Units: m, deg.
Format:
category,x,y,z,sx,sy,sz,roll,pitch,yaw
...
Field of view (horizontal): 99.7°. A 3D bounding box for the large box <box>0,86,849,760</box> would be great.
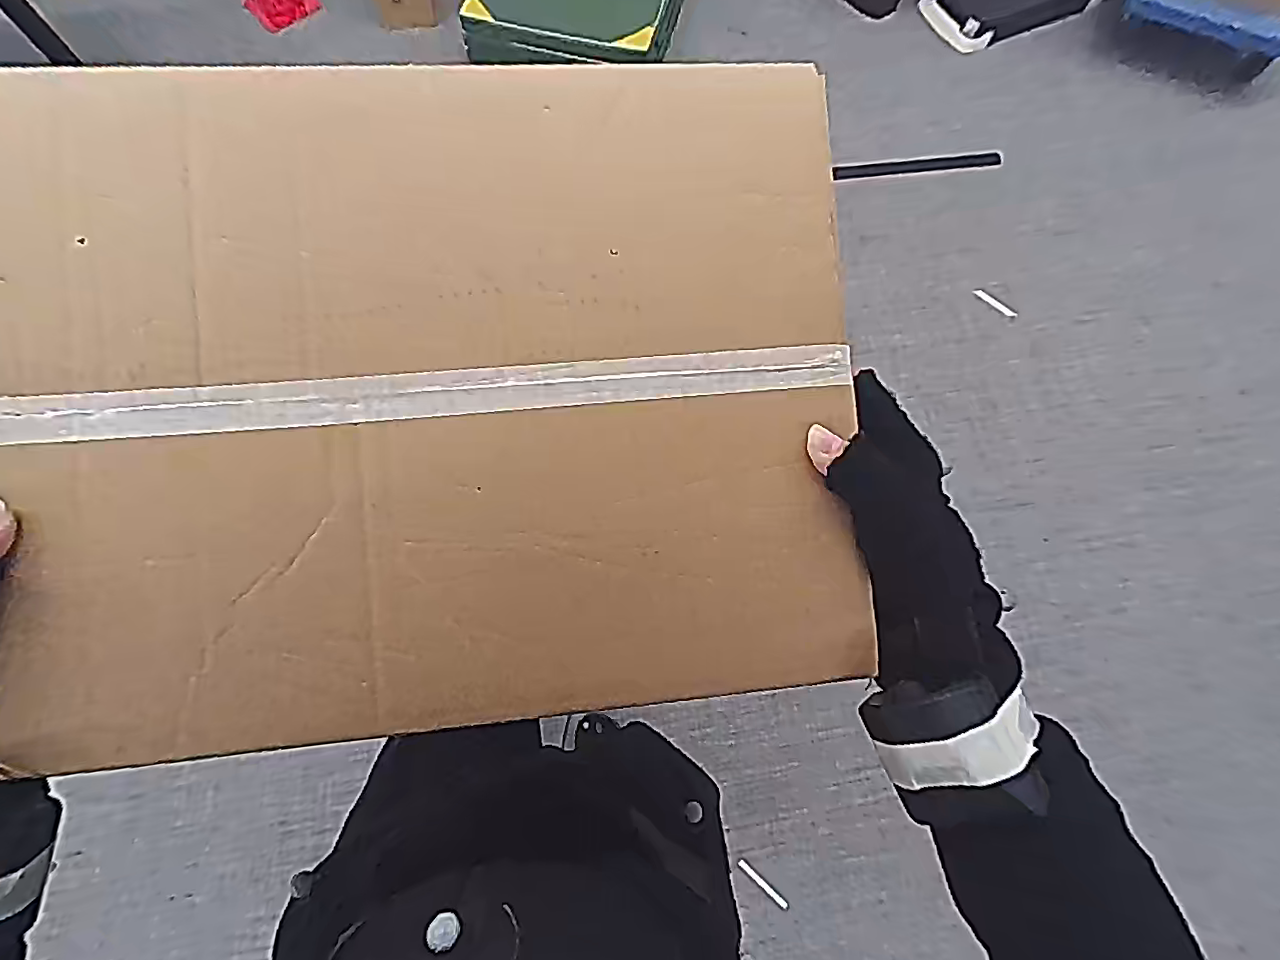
category,x,y,z,sx,sy,sz,roll,pitch,yaw
large box,-0.110,-0.038,0.415,0.408,0.320,0.320,-4,88,-6
